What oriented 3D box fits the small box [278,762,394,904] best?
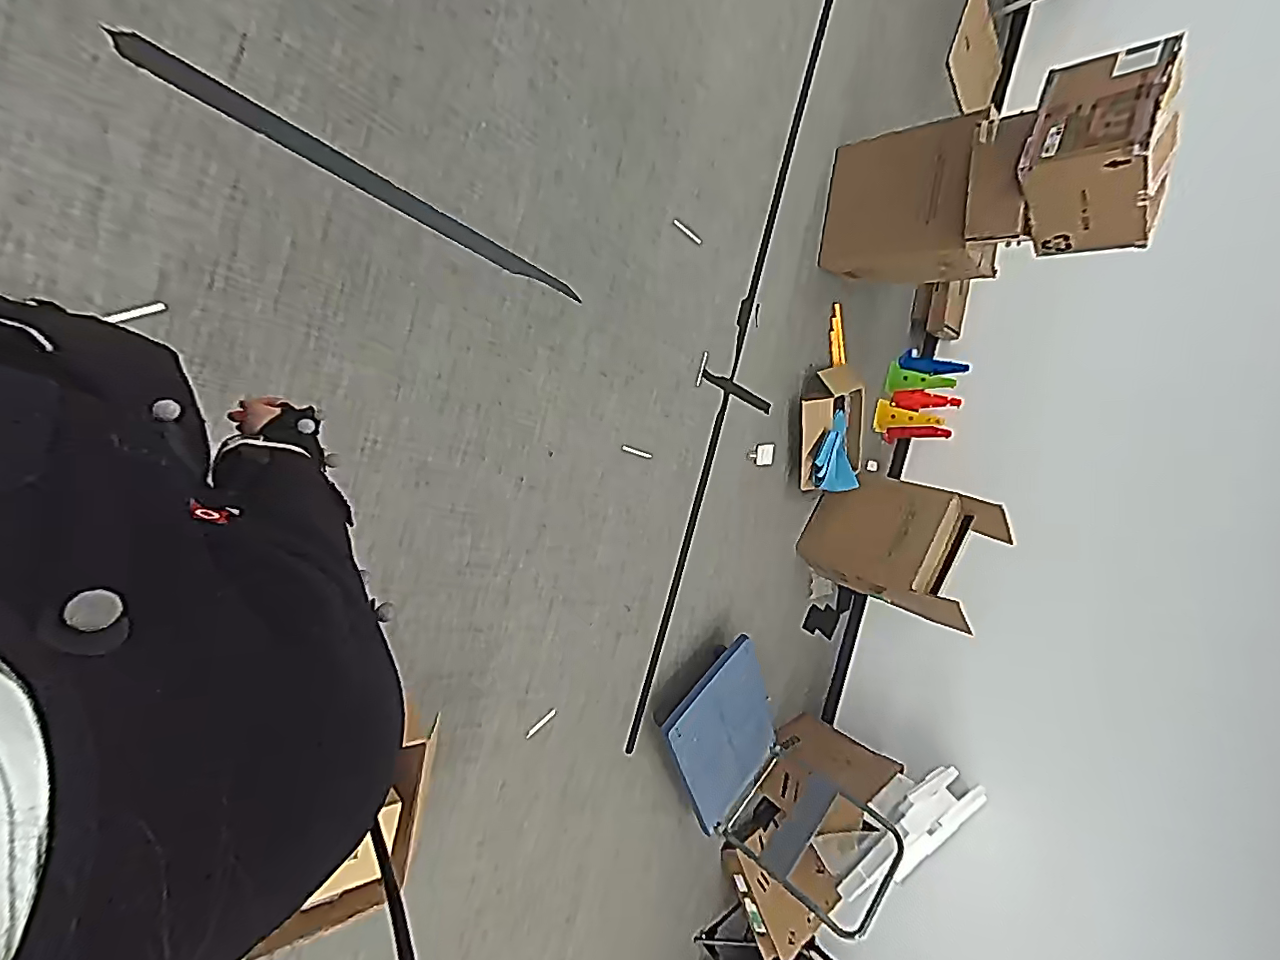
[{"bbox_3d":[-0.670,0.759,1.186,0.168,0.176,0.179,12,92,-47],"label":"small box"}]
